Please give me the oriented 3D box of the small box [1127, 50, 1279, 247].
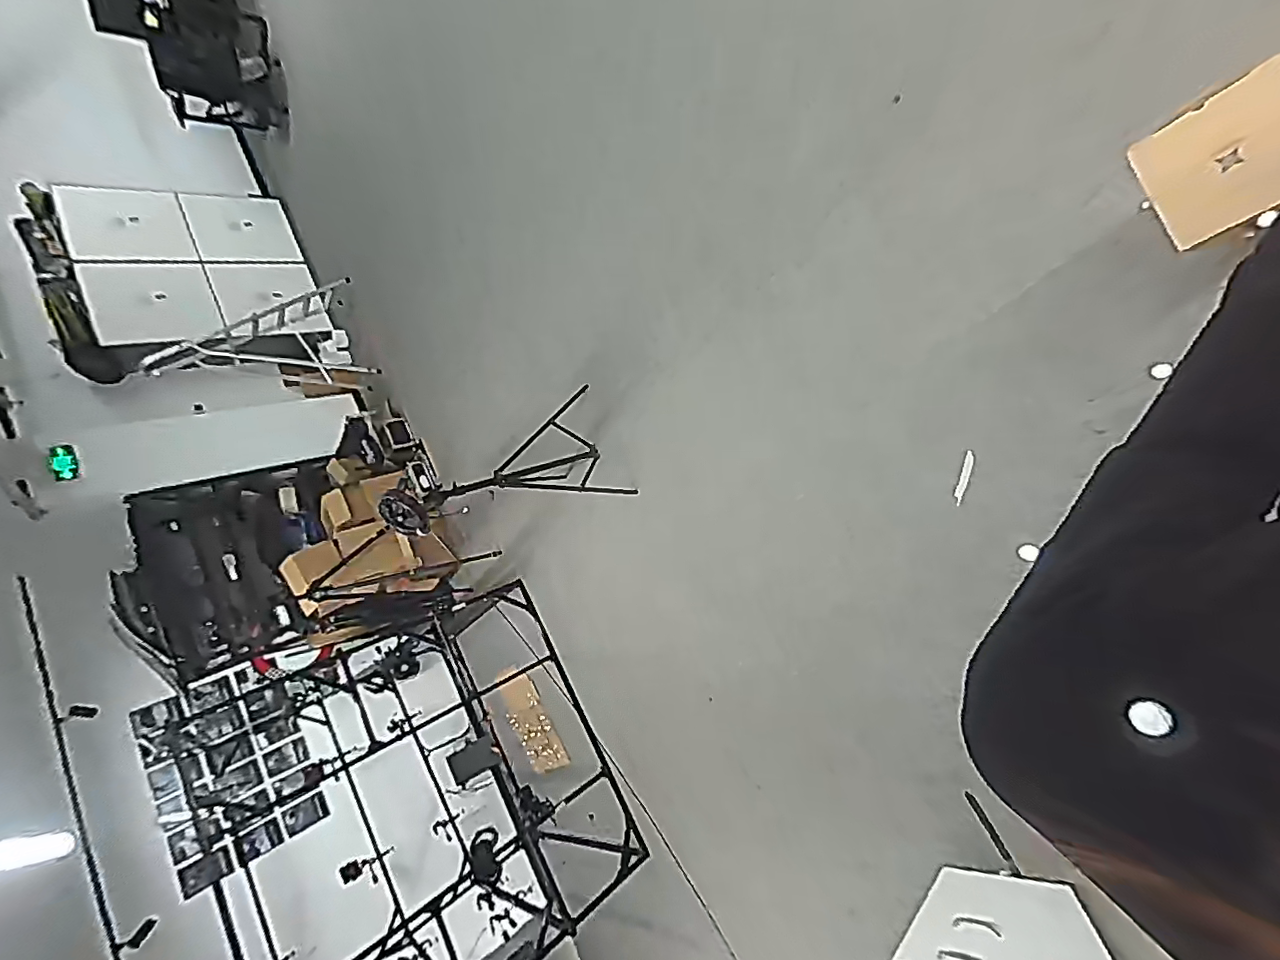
[{"bbox_3d":[0.853,-0.456,0.777,0.168,0.176,0.179,-29,82,52],"label":"small box"}]
